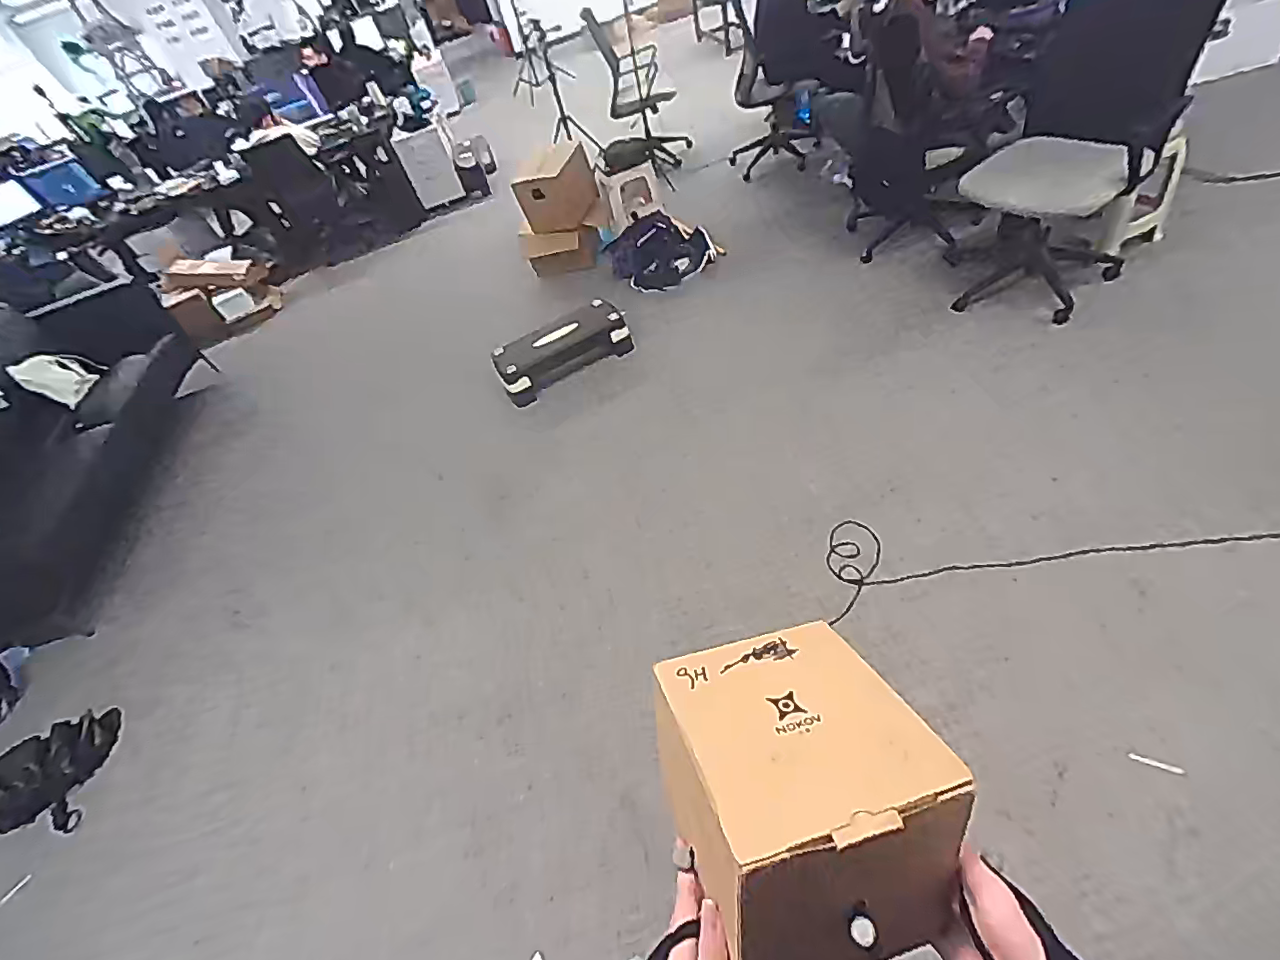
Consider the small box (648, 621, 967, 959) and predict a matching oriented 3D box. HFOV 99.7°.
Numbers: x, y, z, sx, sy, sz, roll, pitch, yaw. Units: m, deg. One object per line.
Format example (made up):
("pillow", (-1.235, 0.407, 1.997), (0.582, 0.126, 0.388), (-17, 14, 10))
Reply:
("small box", (0.110, 0.246, 0.426), (0.168, 0.176, 0.179), (-9, 25, -12))
